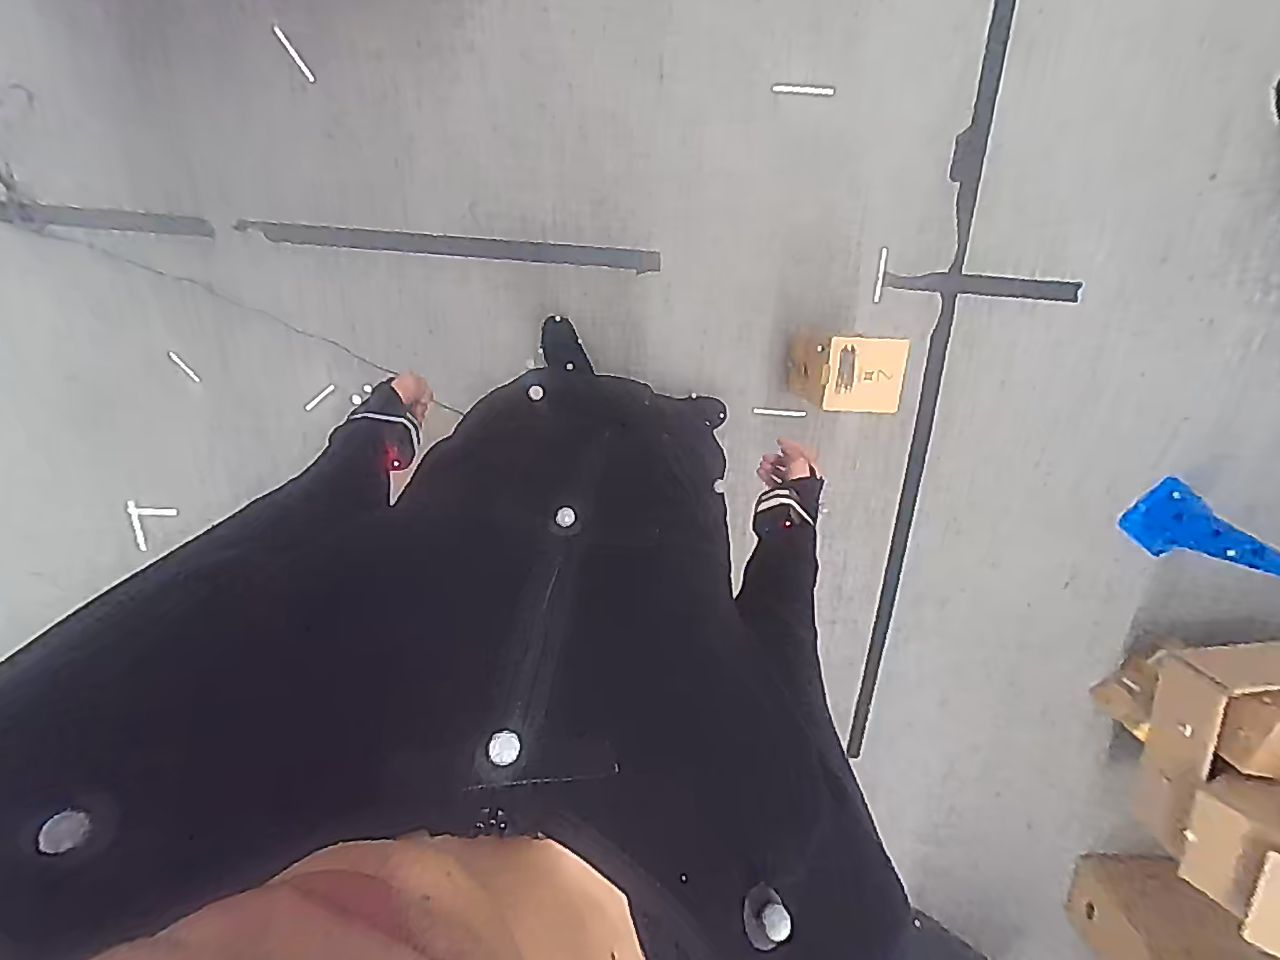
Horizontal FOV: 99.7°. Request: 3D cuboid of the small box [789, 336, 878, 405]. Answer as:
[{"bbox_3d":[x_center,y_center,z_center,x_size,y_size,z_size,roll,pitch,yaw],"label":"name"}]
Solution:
[{"bbox_3d":[0.511,-0.299,1.450,0.179,0.176,0.168,1,107,3],"label":"small box"}]
